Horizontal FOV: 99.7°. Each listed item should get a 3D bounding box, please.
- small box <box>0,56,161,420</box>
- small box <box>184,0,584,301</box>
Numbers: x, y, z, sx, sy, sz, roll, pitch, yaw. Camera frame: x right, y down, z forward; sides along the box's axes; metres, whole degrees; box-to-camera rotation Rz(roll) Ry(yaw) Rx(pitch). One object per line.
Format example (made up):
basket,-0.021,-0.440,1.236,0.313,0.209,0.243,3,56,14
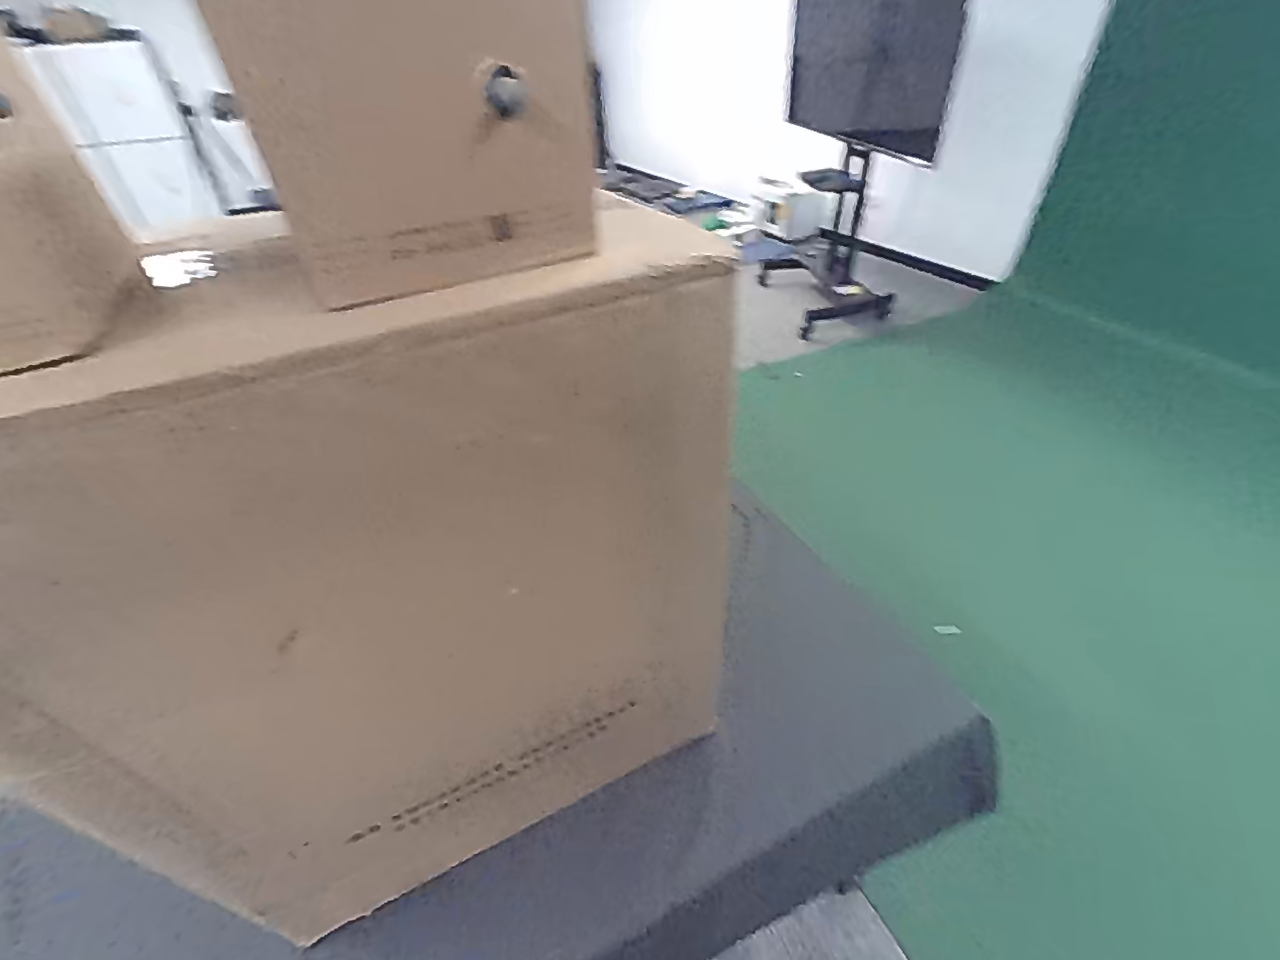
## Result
small box,-0.386,-0.125,0.266,0.168,0.176,0.179,-24,44,-20
small box,-0.144,-0.223,0.334,0.168,0.176,0.179,-19,42,-20
